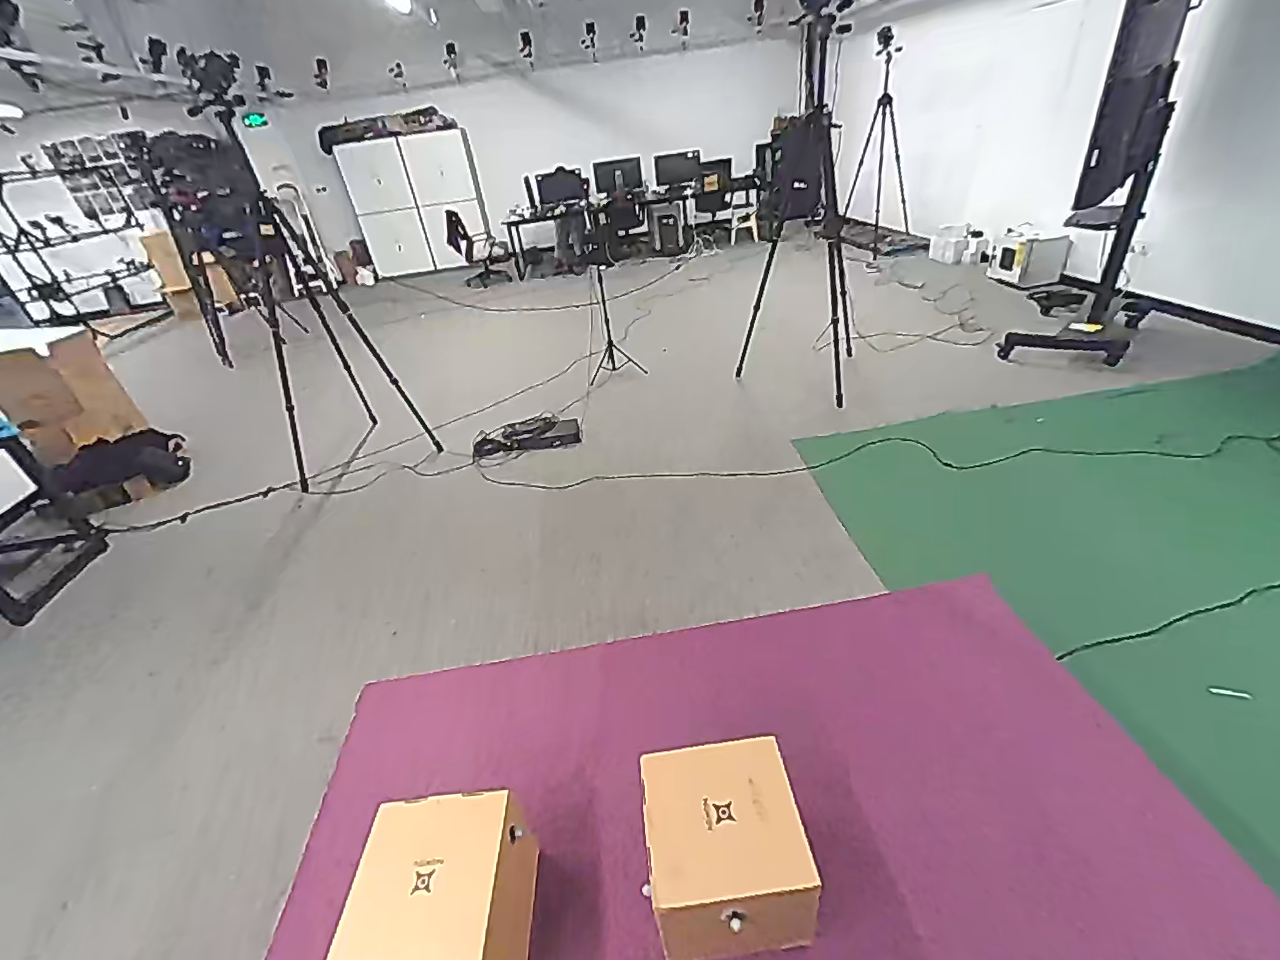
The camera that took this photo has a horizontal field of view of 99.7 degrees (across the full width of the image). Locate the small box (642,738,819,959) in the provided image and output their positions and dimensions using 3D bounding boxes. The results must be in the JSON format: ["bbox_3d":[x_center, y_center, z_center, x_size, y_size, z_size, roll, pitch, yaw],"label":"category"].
[{"bbox_3d":[0.105,0.449,0.657,0.179,0.176,0.168,-9,33,1],"label":"small box"}]

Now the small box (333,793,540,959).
[{"bbox_3d":[-0.224,0.513,0.643,0.168,0.176,0.179,-8,31,2],"label":"small box"}]
